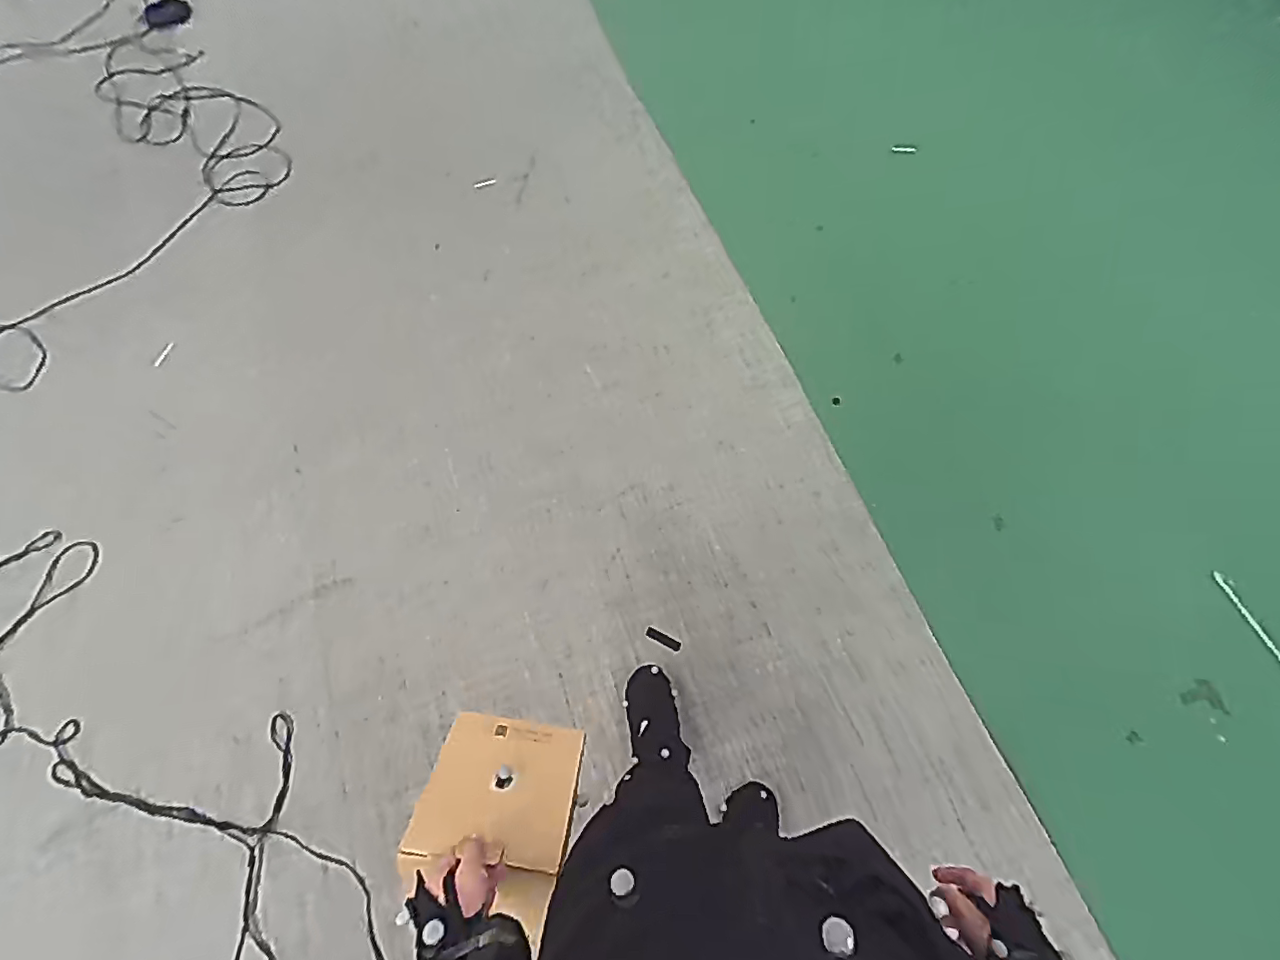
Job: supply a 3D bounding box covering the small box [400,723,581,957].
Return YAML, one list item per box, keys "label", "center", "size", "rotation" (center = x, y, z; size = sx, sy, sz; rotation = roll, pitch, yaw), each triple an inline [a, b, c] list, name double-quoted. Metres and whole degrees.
- label: "small box"
  center: [-0.169, 0.425, 0.654]
  size: [0.168, 0.179, 0.176]
  rotation: [9, 28, 0]
